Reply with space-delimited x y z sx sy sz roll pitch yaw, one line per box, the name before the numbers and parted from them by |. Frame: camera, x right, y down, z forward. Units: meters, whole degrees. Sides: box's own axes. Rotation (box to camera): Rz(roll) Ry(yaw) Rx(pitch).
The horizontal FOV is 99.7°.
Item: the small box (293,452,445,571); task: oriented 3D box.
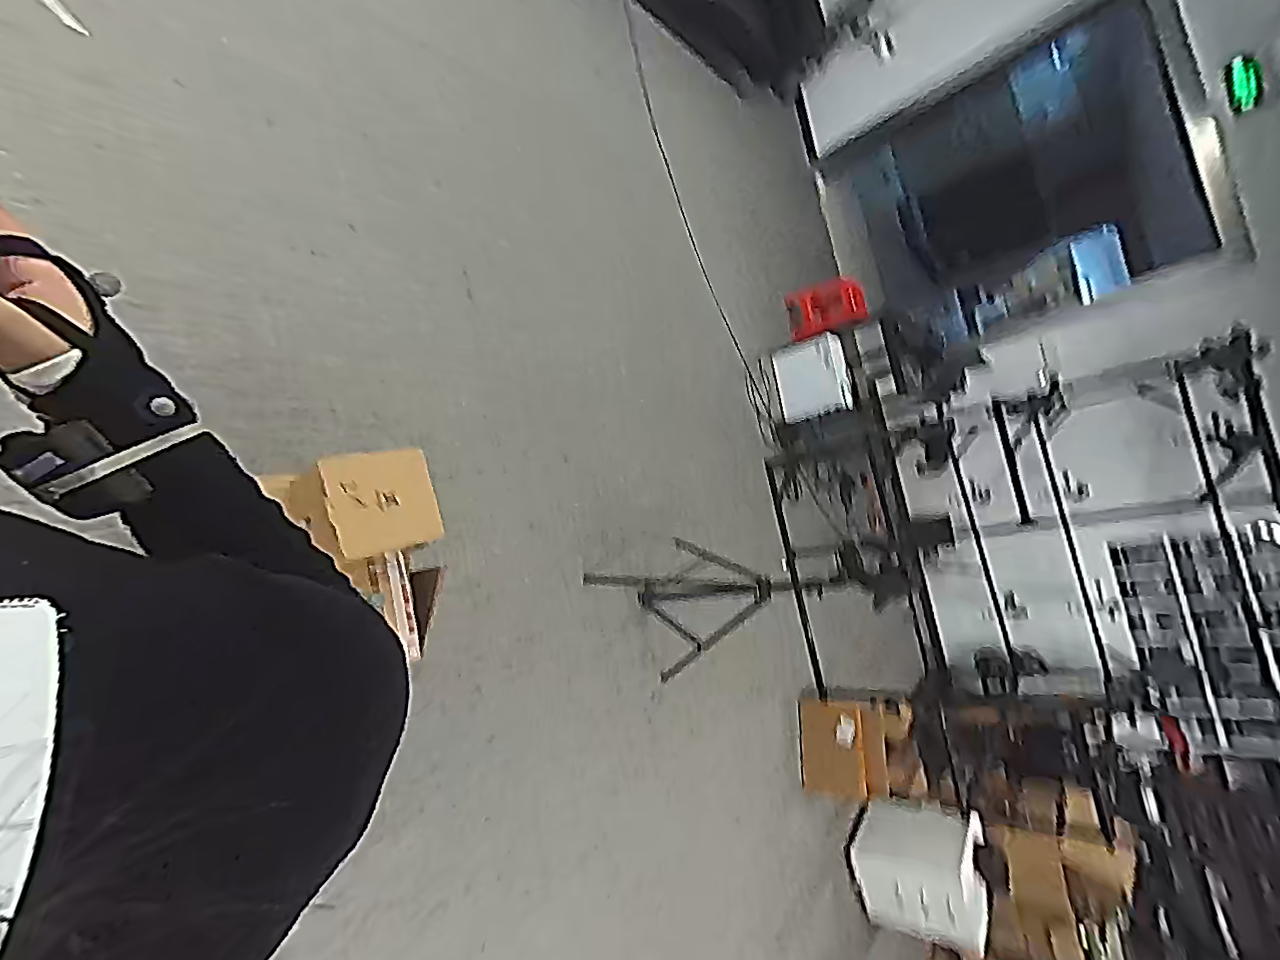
small box | -0.479 0.055 0.956 0.179 0.176 0.168 -12 86 -47
